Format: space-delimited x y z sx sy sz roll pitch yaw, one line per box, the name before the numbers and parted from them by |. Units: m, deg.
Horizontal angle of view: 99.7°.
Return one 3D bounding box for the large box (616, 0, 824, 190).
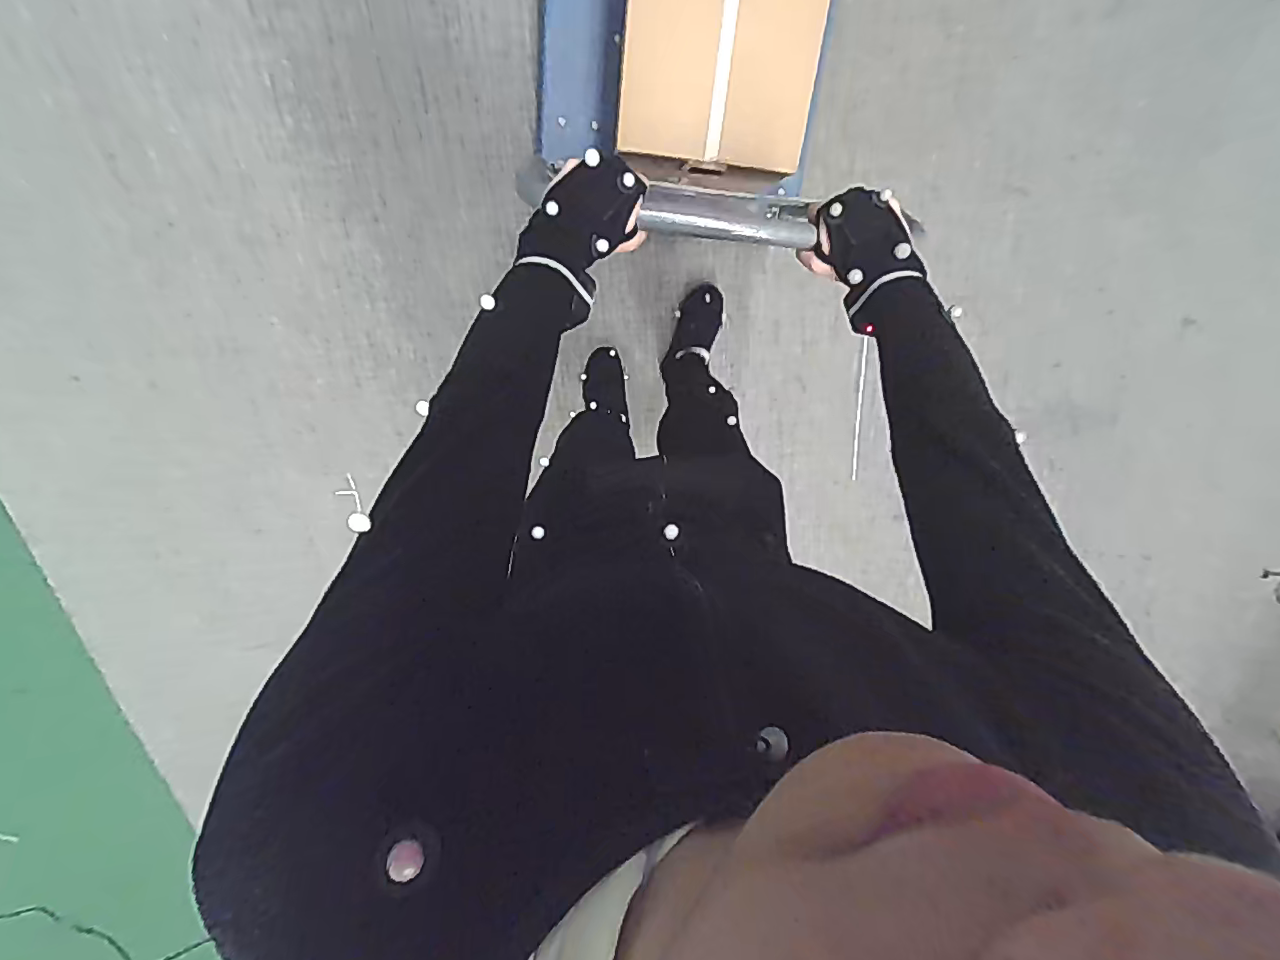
large box | 0.123 -0.778 0.978 0.320 0.320 0.408 4 111 -6
